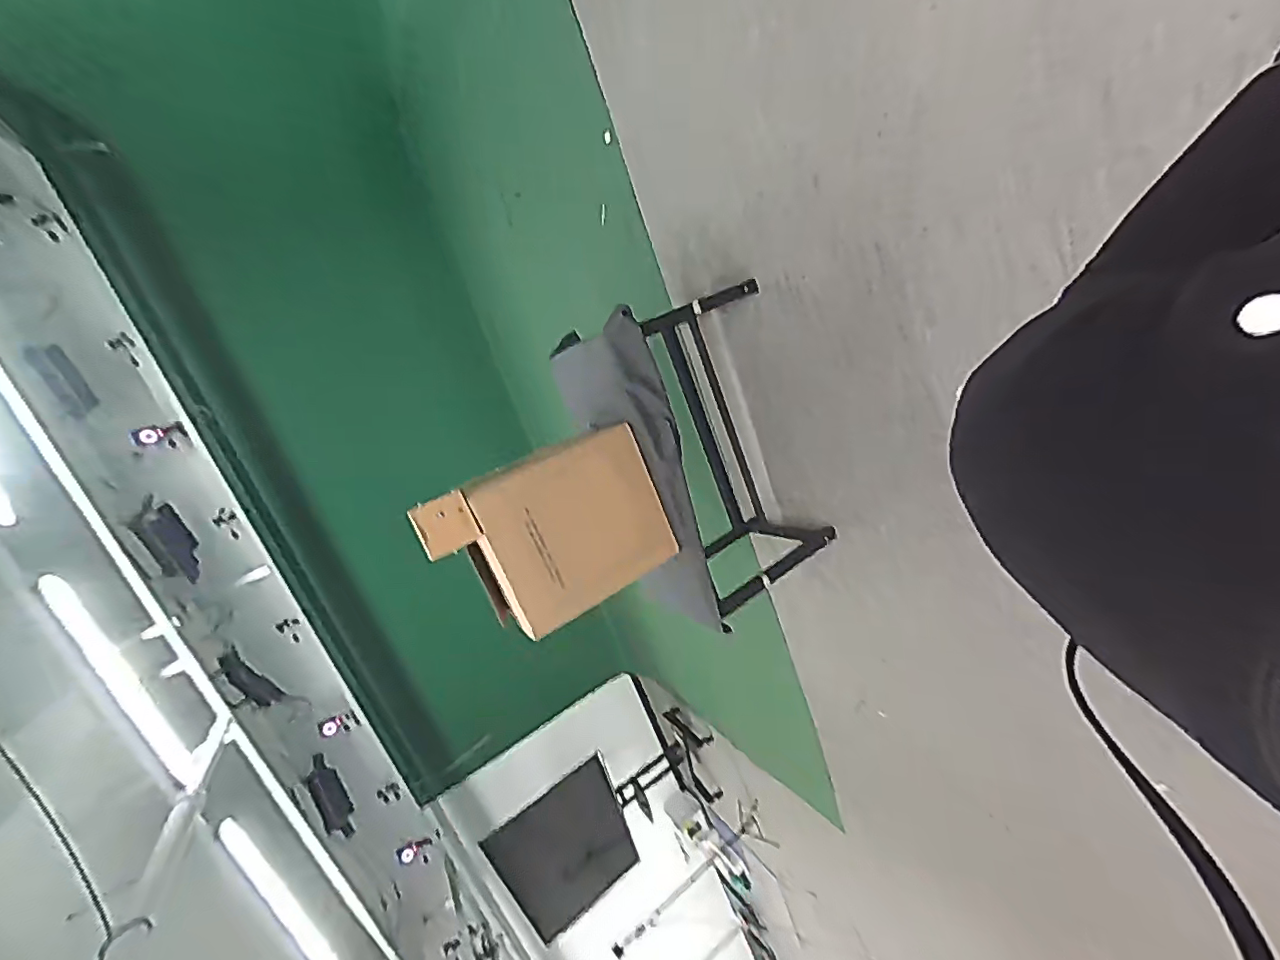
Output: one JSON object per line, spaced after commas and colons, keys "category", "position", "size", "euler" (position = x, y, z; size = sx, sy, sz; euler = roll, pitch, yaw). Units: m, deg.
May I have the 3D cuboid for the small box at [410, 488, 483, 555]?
{"category": "small box", "position": [-0.626, 0.132, 1.756], "size": [0.179, 0.176, 0.168], "euler": [-12, 102, 66]}
